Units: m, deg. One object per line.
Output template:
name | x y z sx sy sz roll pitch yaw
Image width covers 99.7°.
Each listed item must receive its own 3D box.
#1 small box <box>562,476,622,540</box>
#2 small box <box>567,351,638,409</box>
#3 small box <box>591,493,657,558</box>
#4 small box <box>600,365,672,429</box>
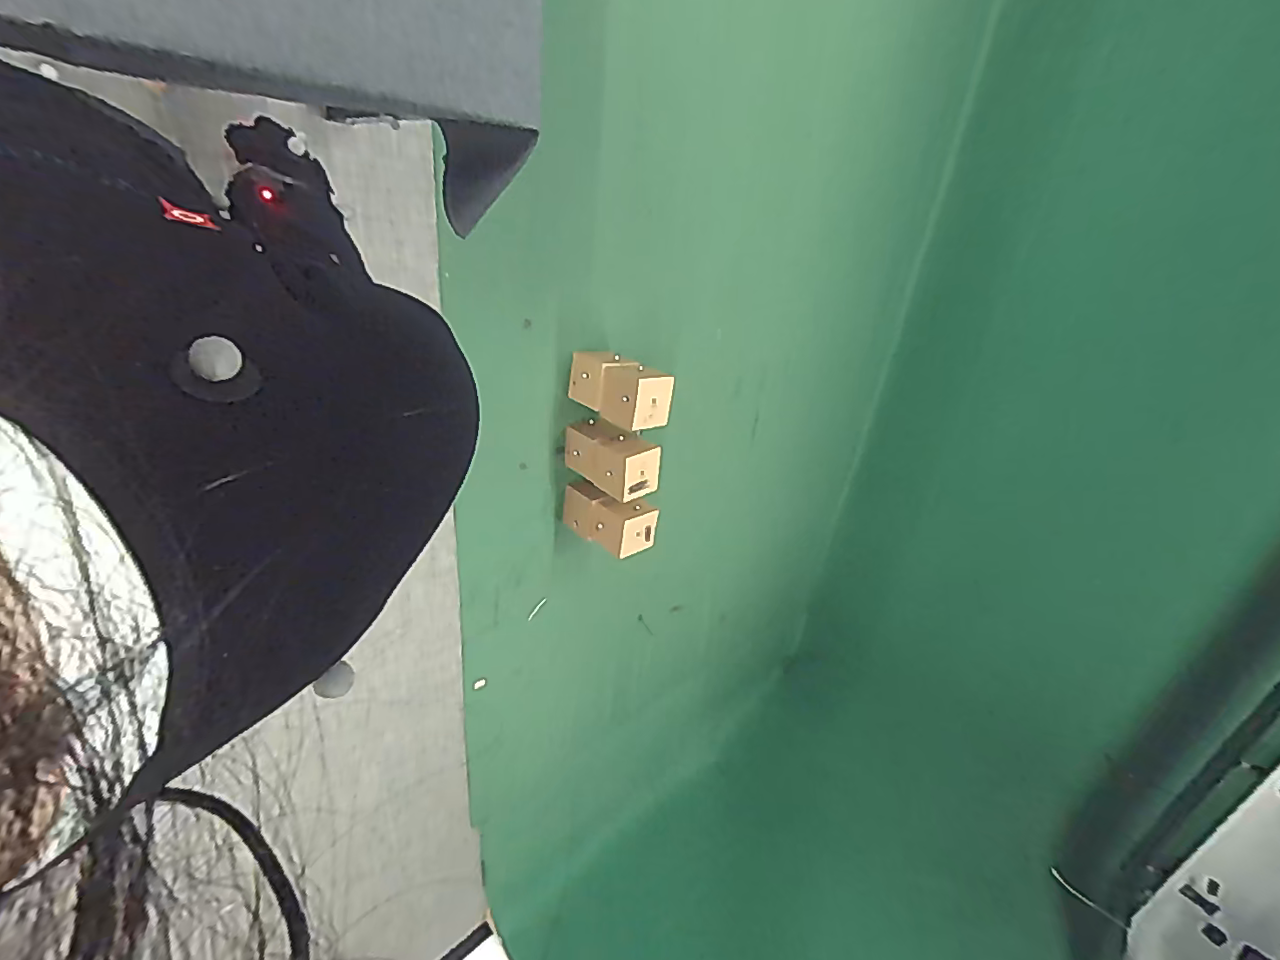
small box | -0.191 0.106 2.133 0.168 0.176 0.179 -14 124 -43
small box | -0.136 -0.355 1.905 0.179 0.176 0.168 -13 122 -43
small box | -0.063 0.164 2.048 0.179 0.176 0.168 -16 125 -42
small box | -0.018 -0.285 1.813 0.168 0.176 0.179 -14 122 -43
